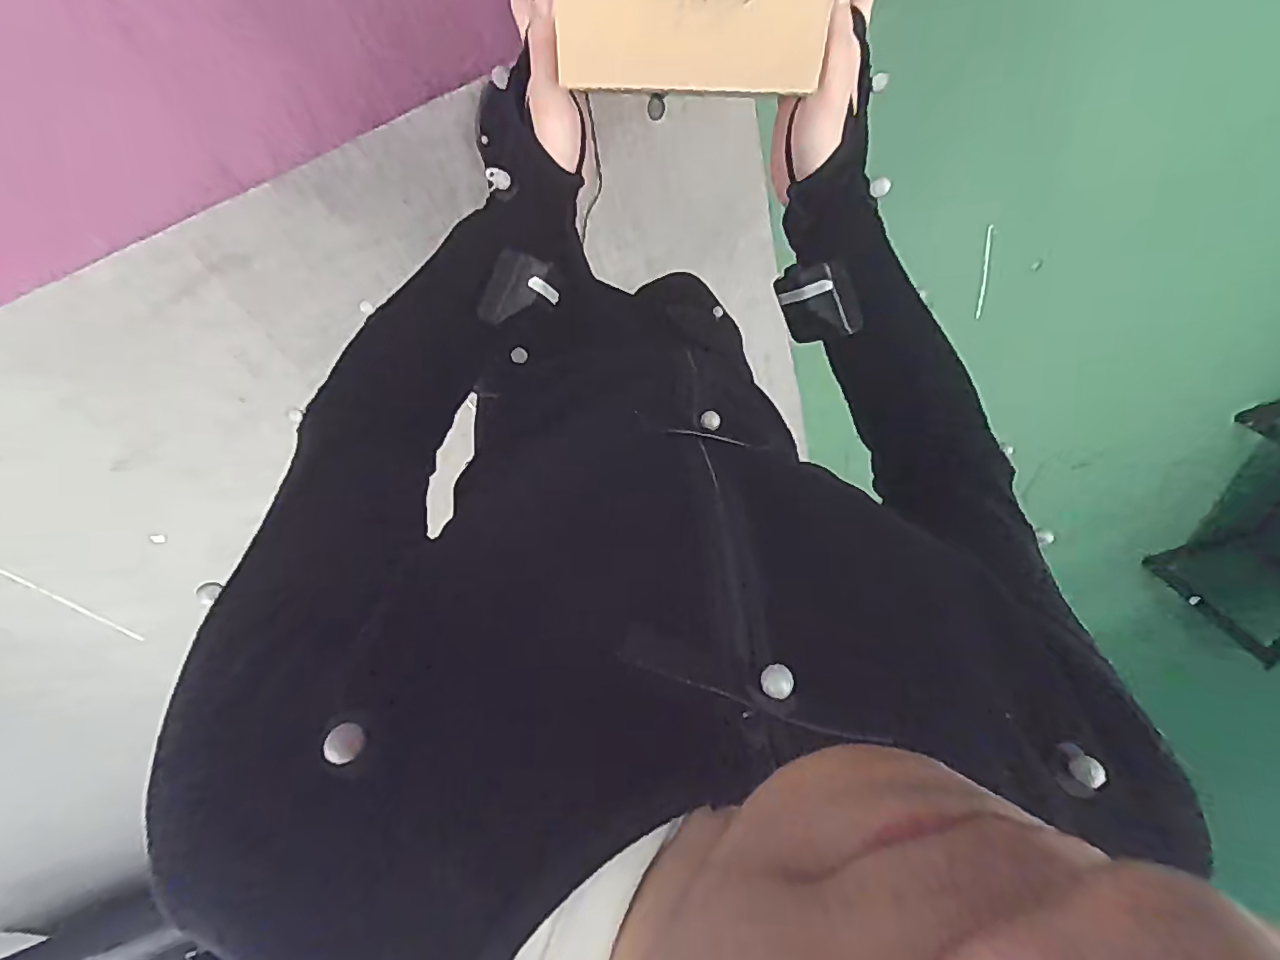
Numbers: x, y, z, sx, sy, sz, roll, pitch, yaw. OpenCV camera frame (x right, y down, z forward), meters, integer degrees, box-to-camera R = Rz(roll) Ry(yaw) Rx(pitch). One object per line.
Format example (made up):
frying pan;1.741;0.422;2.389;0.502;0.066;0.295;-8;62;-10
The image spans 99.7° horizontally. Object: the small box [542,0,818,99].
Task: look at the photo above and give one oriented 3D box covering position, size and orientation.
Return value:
small box;0.025;-0.363;0.358;0.168;0.176;0.179;2;125;1
